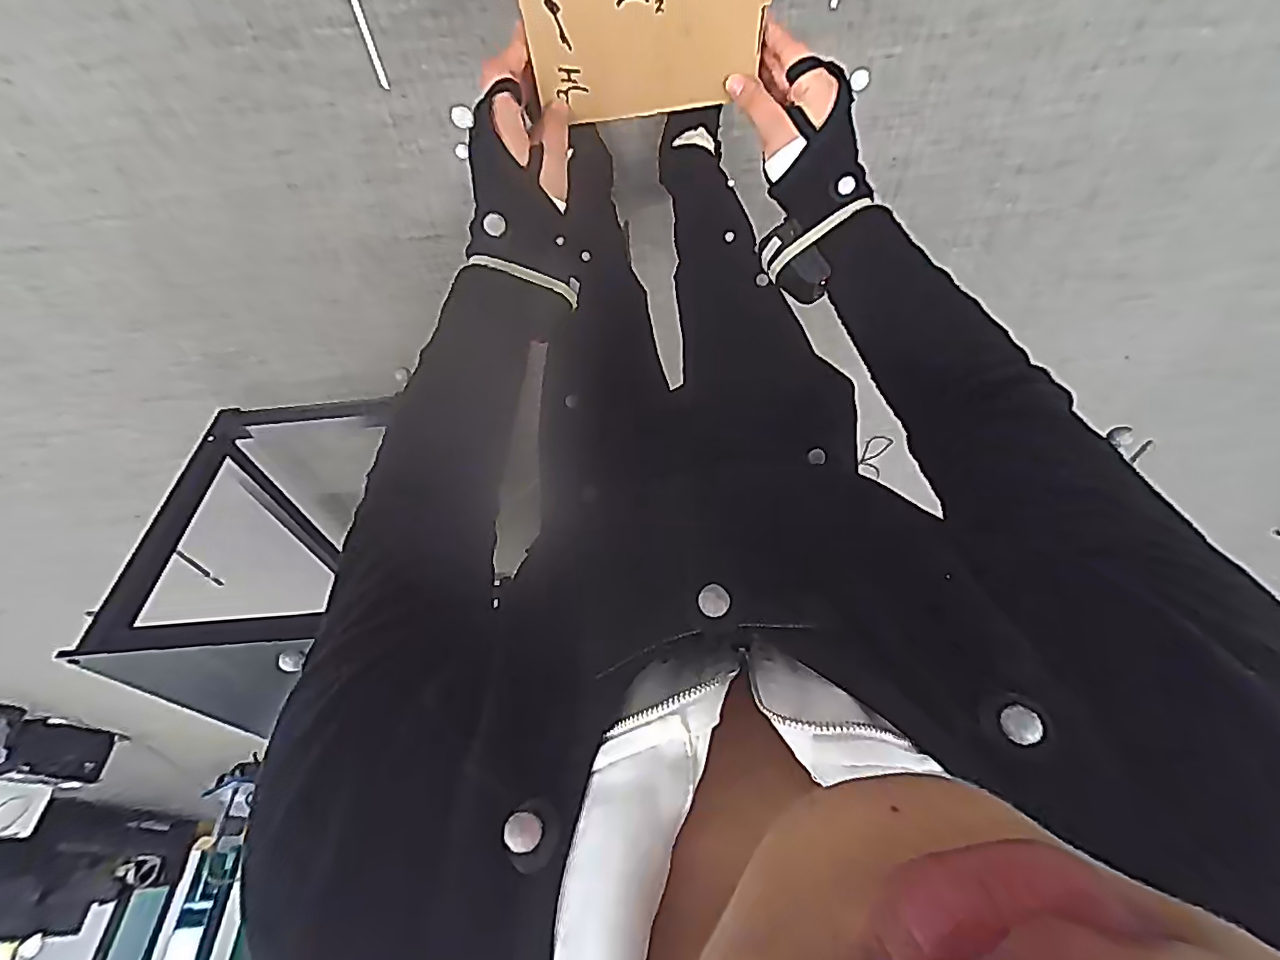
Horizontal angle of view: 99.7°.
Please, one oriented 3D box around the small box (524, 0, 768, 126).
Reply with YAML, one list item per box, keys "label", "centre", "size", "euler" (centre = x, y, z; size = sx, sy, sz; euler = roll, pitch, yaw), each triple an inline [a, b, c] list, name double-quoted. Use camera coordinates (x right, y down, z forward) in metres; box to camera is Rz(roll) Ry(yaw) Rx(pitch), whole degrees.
- label: "small box"
  centre: [-0.006, -0.408, 0.411]
  size: [0.179, 0.176, 0.168]
  euler: [-8, 149, -1]
